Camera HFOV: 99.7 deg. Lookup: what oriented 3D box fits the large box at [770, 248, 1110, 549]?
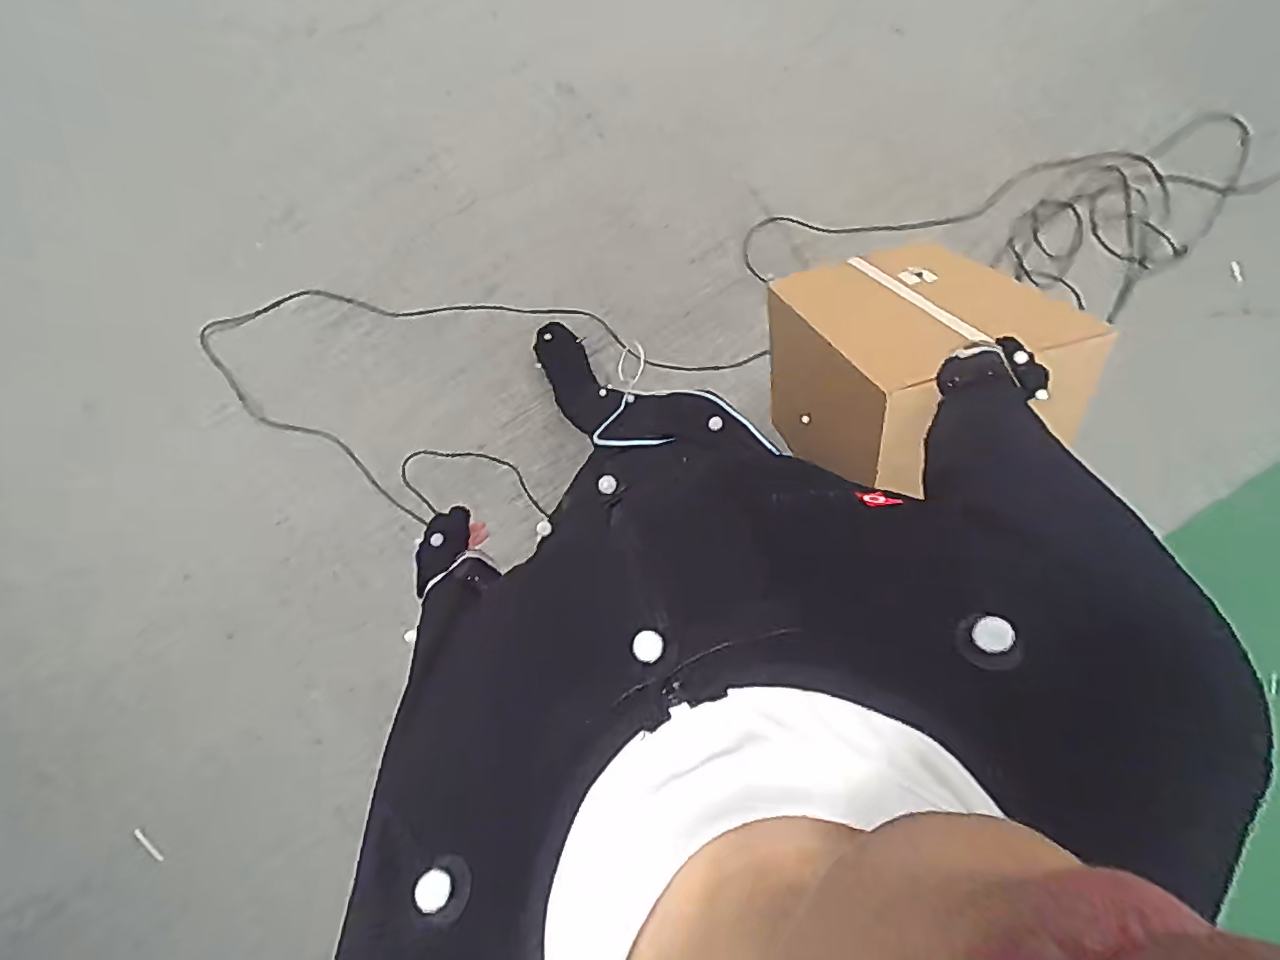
[{"bbox_3d":[0.449,-0.154,0.930,0.320,0.408,0.320,-14,129,-2],"label":"large box"}]
